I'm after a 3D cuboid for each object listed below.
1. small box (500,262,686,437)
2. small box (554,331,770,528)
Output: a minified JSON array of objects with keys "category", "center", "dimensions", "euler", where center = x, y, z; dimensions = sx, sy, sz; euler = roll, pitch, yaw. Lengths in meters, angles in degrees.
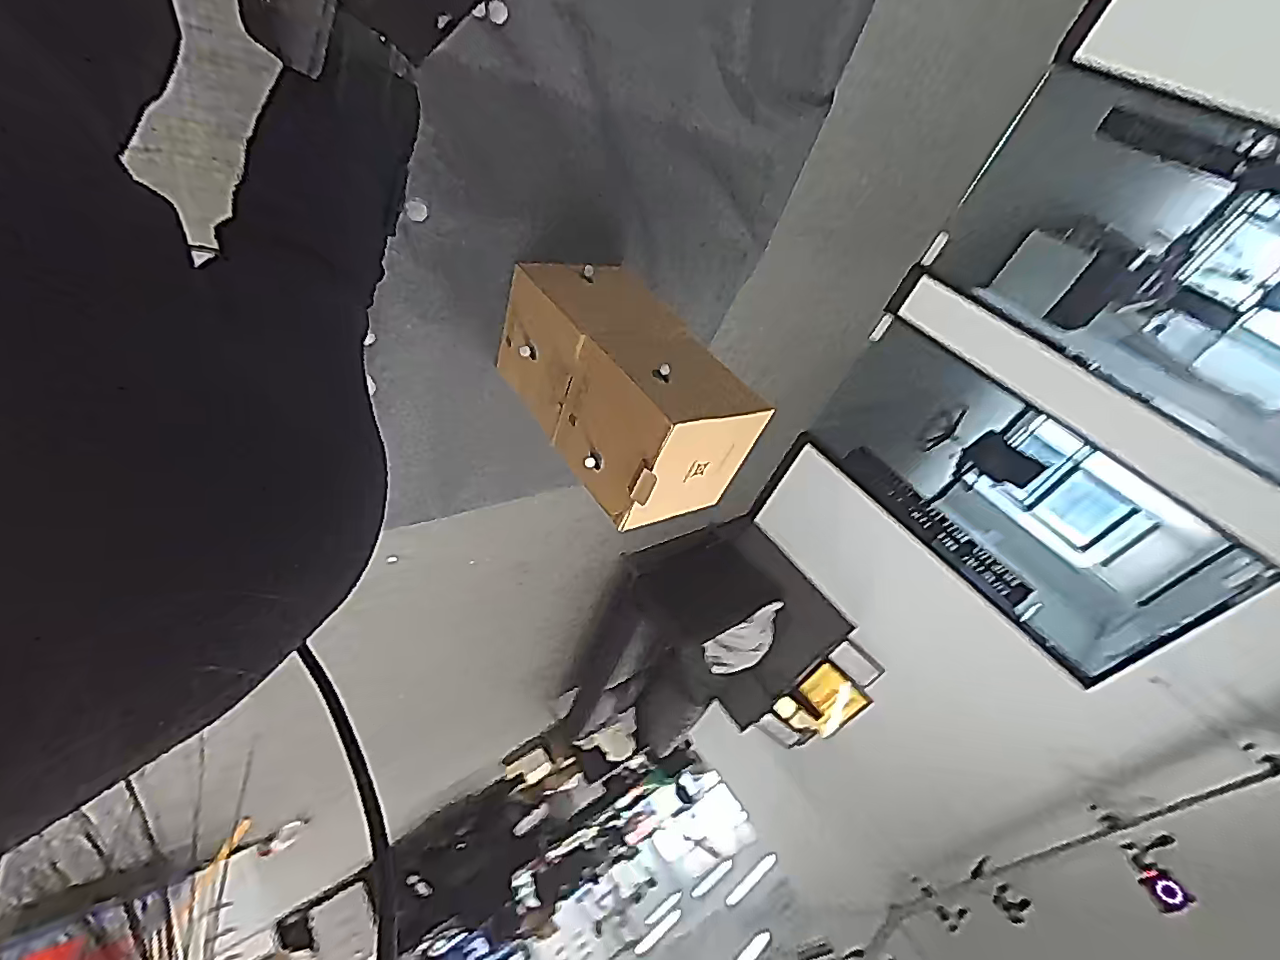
[{"category":"small box","center":[-0.074,-0.184,0.747],"dimensions":[0.179,0.176,0.168],"euler":[-15,143,-38]},{"category":"small box","center":[0.018,-0.071,0.673],"dimensions":[0.179,0.176,0.168],"euler":[-14,143,-41]}]
